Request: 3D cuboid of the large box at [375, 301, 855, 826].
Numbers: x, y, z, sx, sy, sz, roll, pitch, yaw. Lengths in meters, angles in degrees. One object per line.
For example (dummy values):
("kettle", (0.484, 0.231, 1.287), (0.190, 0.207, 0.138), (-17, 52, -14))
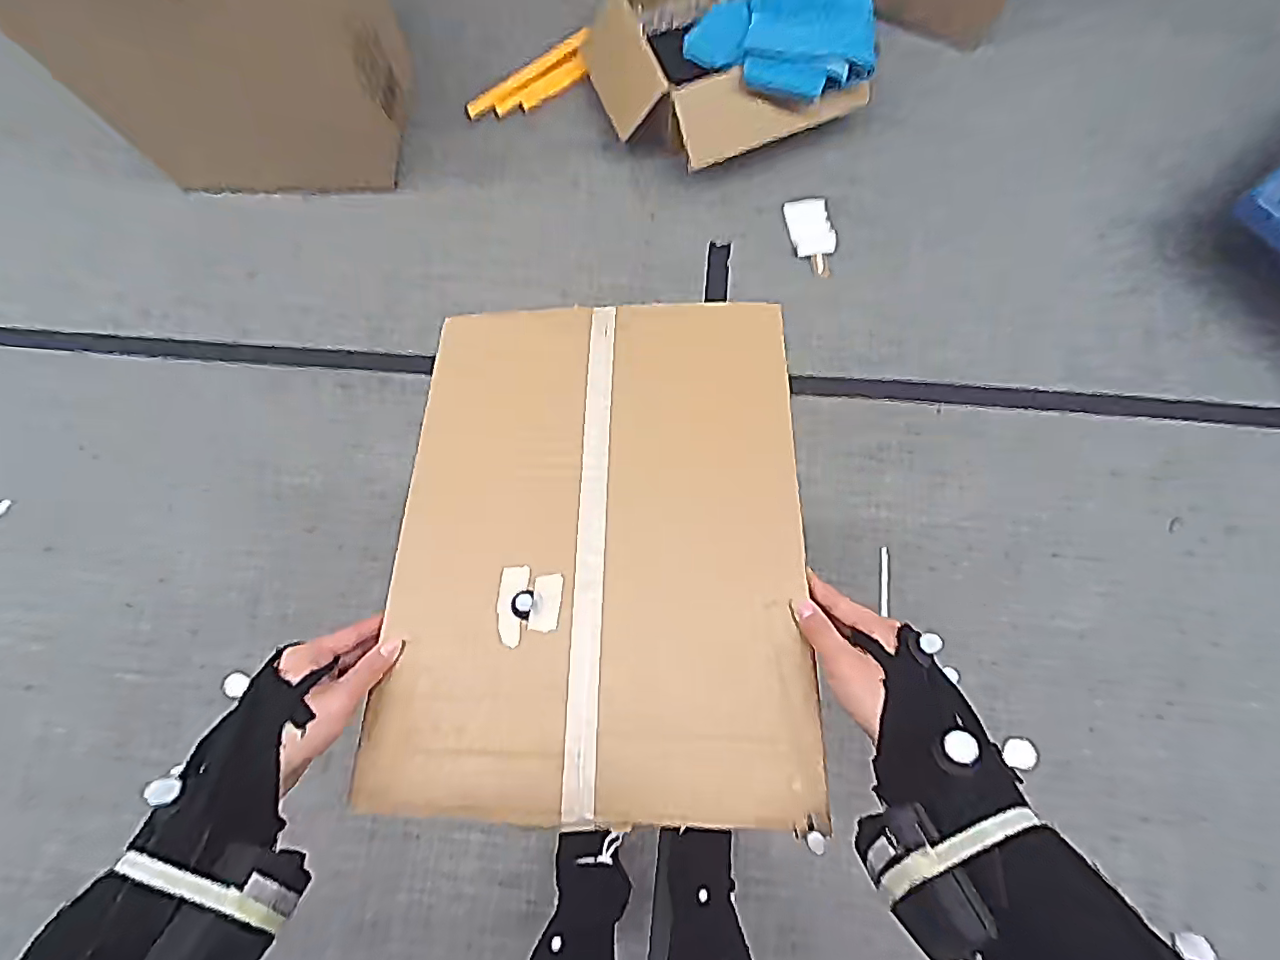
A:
("large box", (-0.011, 0.084, 0.548), (0.320, 0.320, 0.408), (-2, 68, 5))
